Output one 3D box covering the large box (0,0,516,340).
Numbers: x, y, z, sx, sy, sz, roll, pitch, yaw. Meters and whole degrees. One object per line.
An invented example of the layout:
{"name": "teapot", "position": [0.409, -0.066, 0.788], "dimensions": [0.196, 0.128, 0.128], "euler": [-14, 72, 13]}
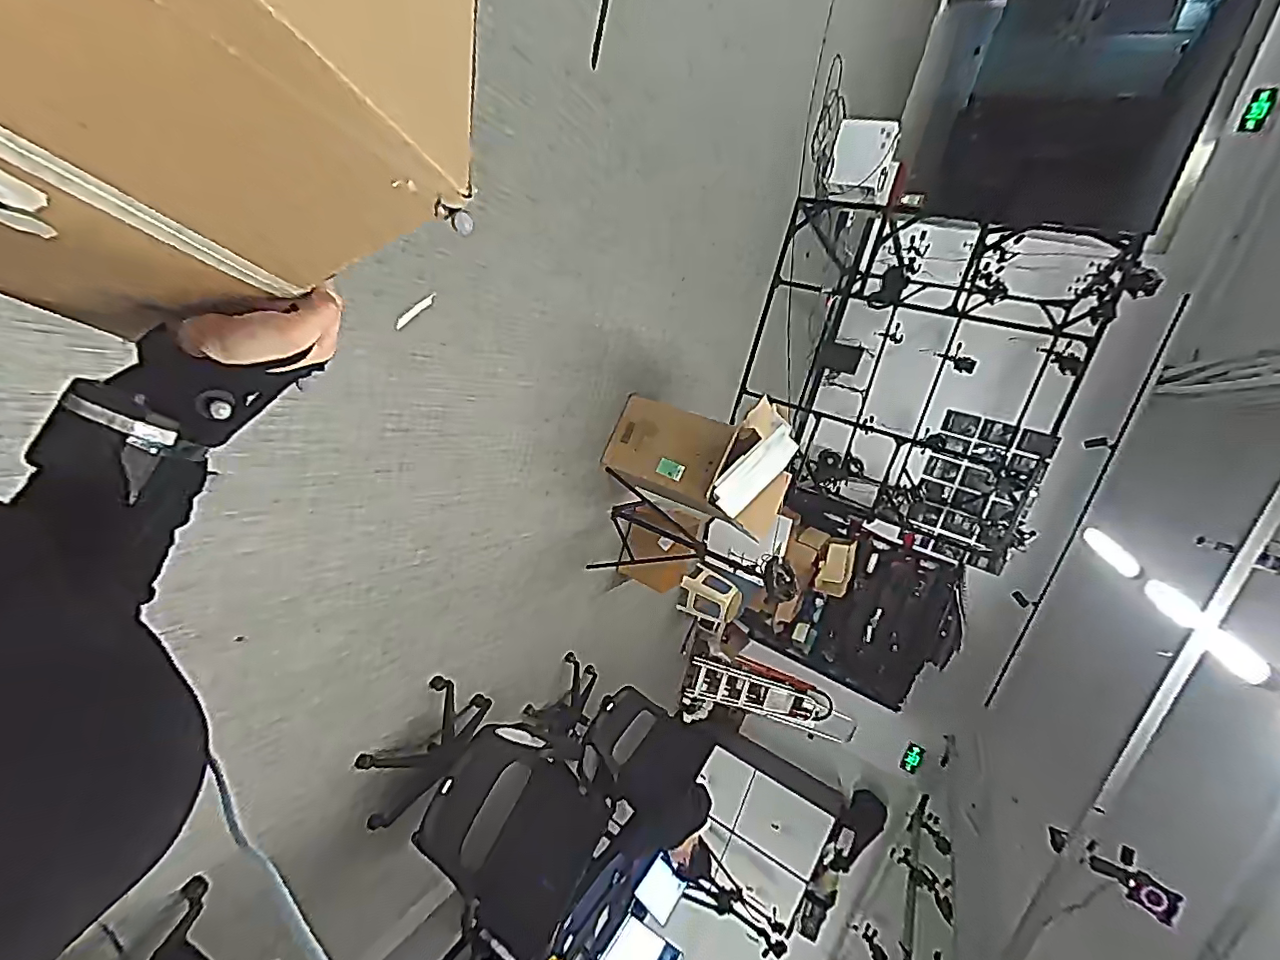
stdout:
{"name": "large box", "position": [-0.306, -0.328, 0.242], "dimensions": [0.408, 0.320, 0.320], "euler": [27, 56, -59]}
